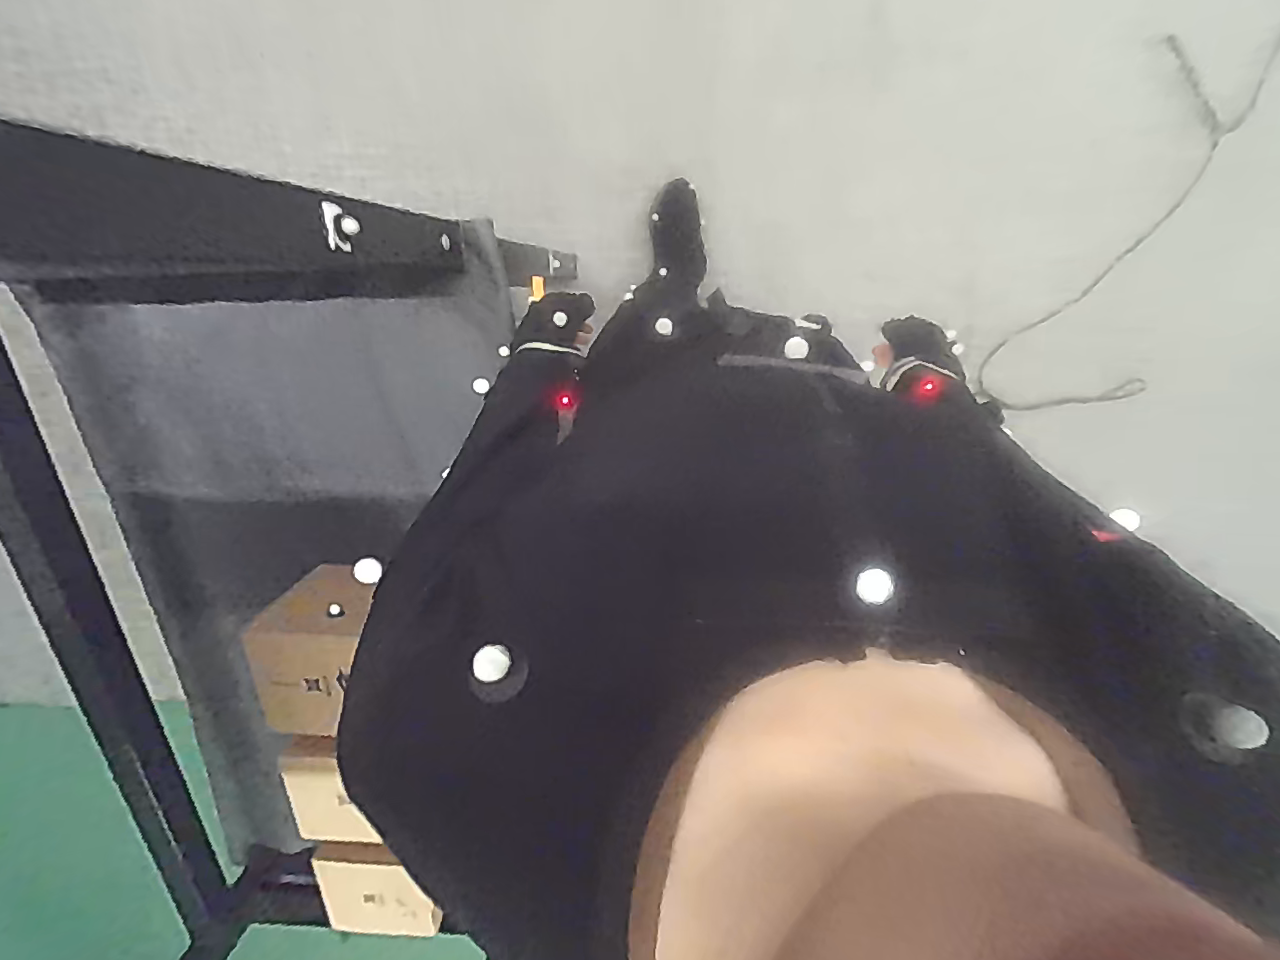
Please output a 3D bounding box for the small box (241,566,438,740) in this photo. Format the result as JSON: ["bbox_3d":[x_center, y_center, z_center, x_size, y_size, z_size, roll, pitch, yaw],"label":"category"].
[{"bbox_3d":[-0.401,0.234,0.761,0.179,0.176,0.168,2,110,4],"label":"small box"}]
